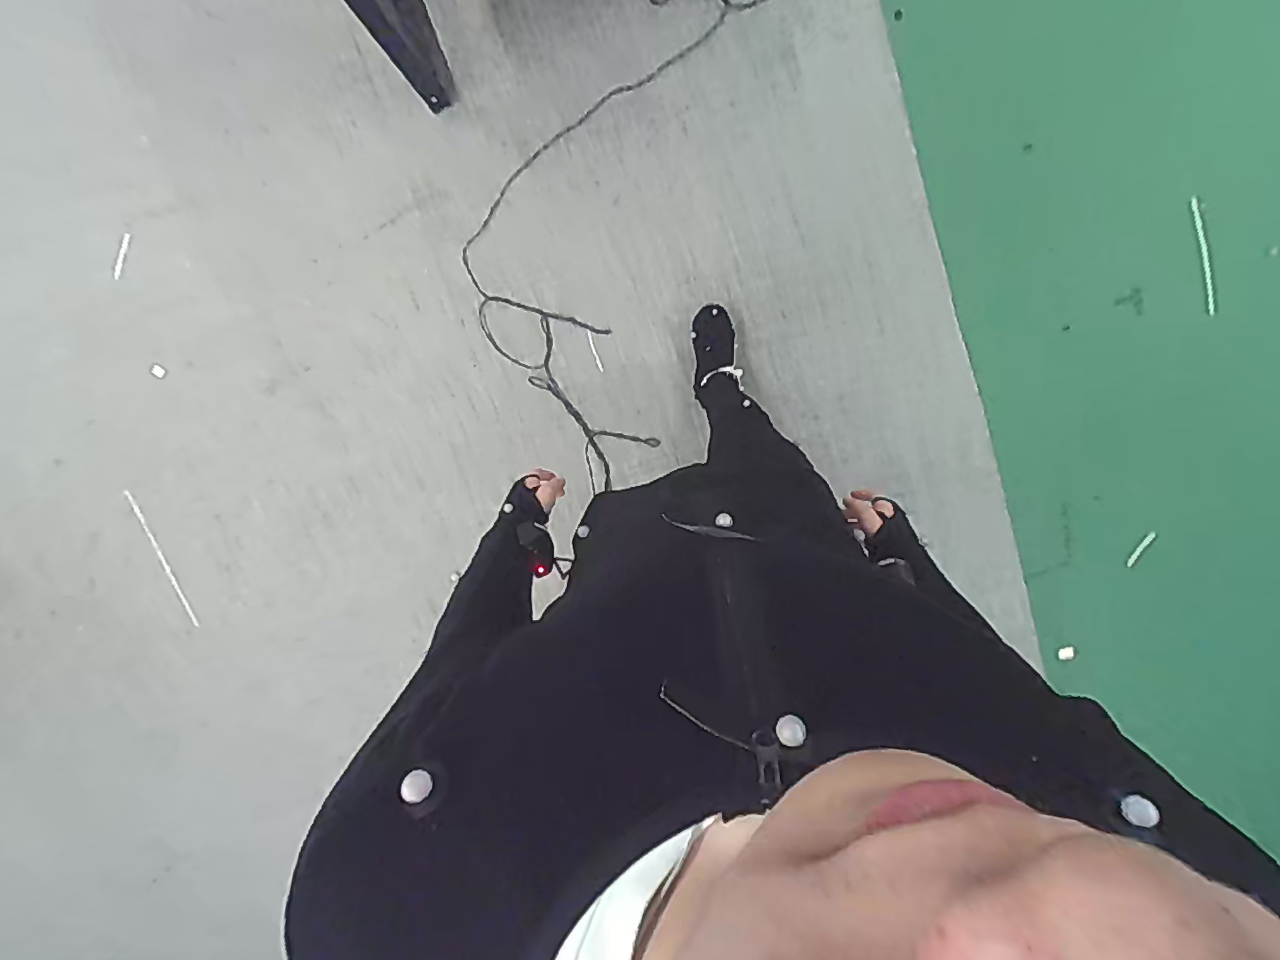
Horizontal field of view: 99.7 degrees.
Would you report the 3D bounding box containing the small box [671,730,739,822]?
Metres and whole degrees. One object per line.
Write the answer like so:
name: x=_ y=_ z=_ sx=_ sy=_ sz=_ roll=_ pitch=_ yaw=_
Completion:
small box: x=0.192 y=0.891 z=1.646 sx=0.168 sy=0.176 sz=0.179 roll=-14 pitch=99 yaw=4
